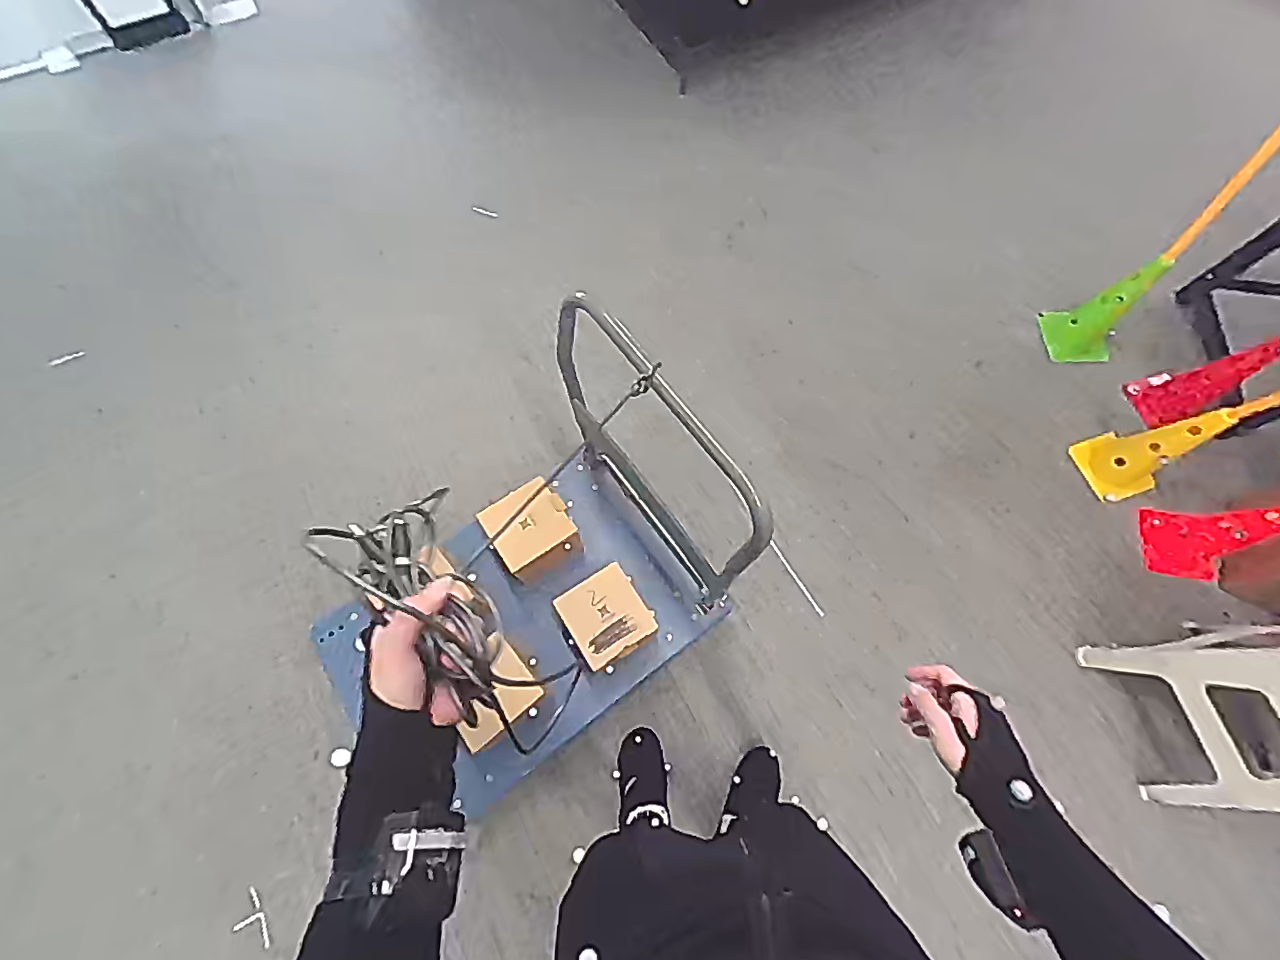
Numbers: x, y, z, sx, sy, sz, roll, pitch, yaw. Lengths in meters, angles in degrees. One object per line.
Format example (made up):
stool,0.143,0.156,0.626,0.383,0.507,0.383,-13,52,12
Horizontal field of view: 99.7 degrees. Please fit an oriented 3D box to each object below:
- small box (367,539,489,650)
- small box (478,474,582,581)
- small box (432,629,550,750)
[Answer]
small box,-0.473,0.269,1.234,0.179,0.176,0.168,-37,74,-15
small box,-0.256,0.121,1.299,0.179,0.176,0.168,-33,73,-13
small box,-0.310,0.448,1.168,0.179,0.176,0.168,-38,73,-14
